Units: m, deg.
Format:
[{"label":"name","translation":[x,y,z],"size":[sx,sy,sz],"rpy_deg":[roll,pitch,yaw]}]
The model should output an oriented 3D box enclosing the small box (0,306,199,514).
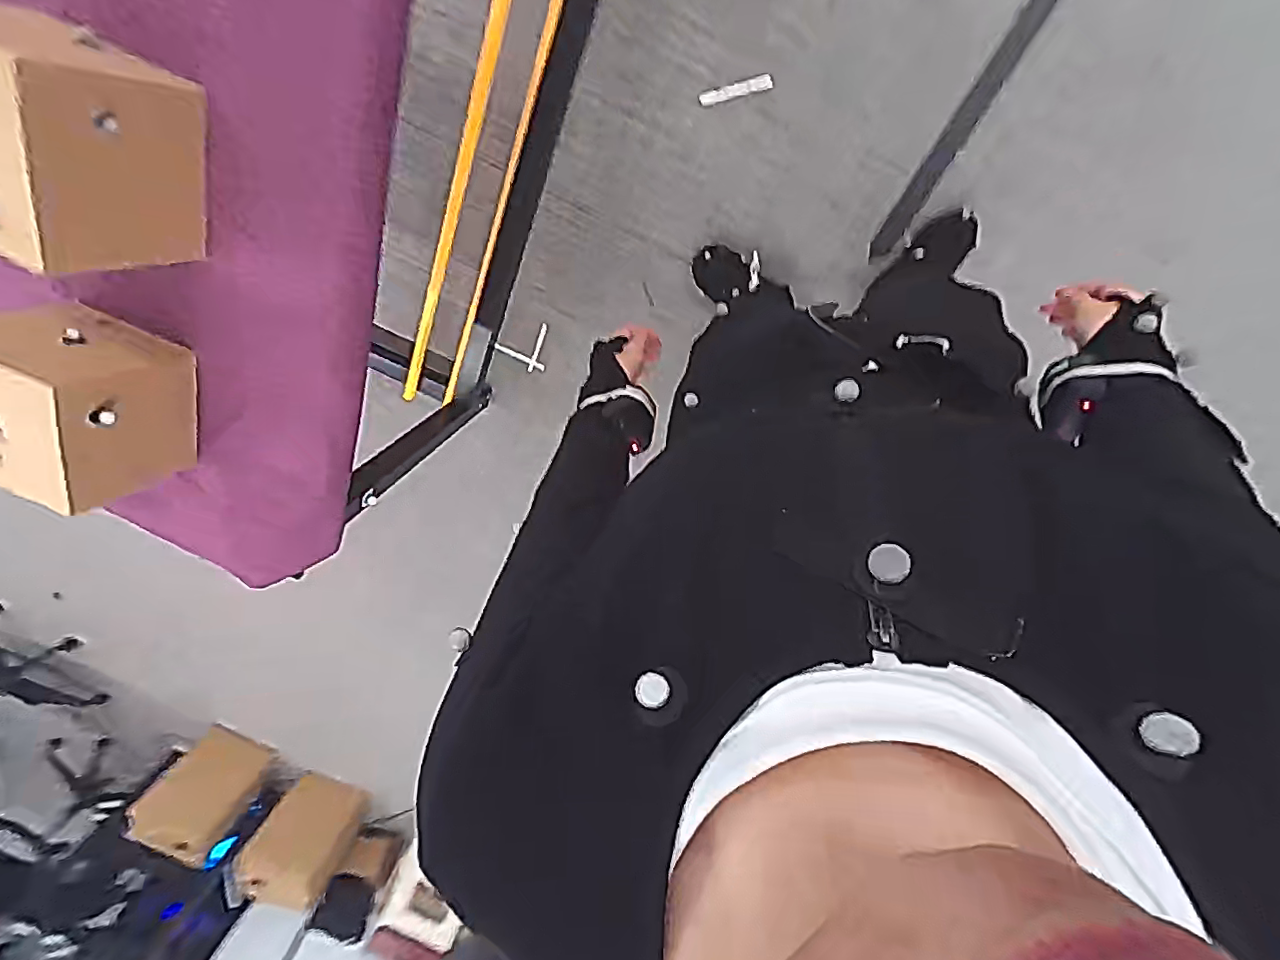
[{"label":"small box","translation":[-0.689,-0.095,0.666],"size":[0.168,0.176,0.179],"rpy_deg":[24,118,-1]}]
